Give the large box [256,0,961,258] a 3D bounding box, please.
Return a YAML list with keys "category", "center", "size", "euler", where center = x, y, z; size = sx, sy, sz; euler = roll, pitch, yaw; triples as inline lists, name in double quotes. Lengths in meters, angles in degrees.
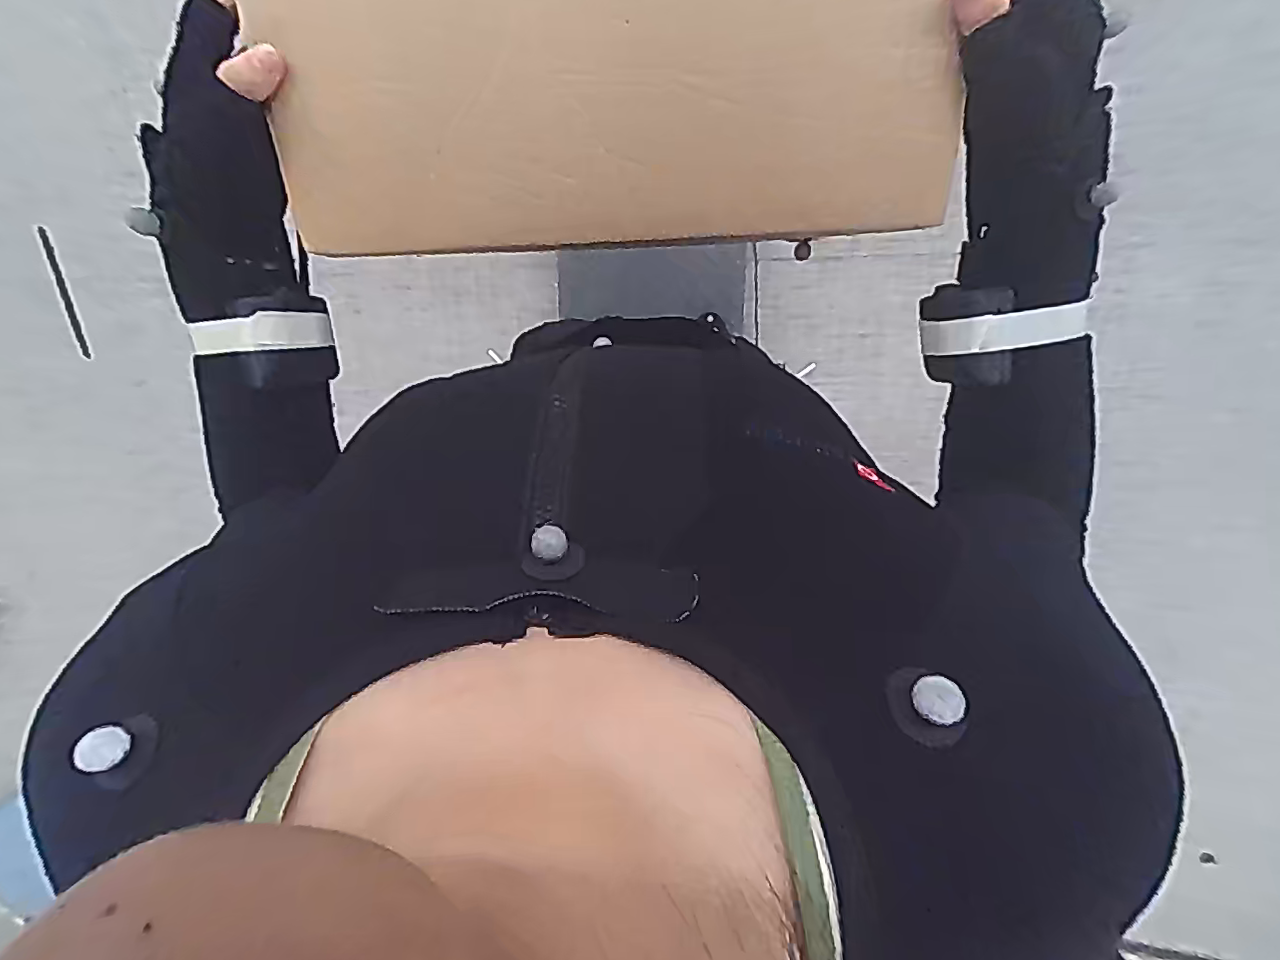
- category: "large box"
  center: [-0.014, -0.356, 0.427]
  size: [0.408, 0.320, 0.320]
  euler: [-1, 113, 3]
